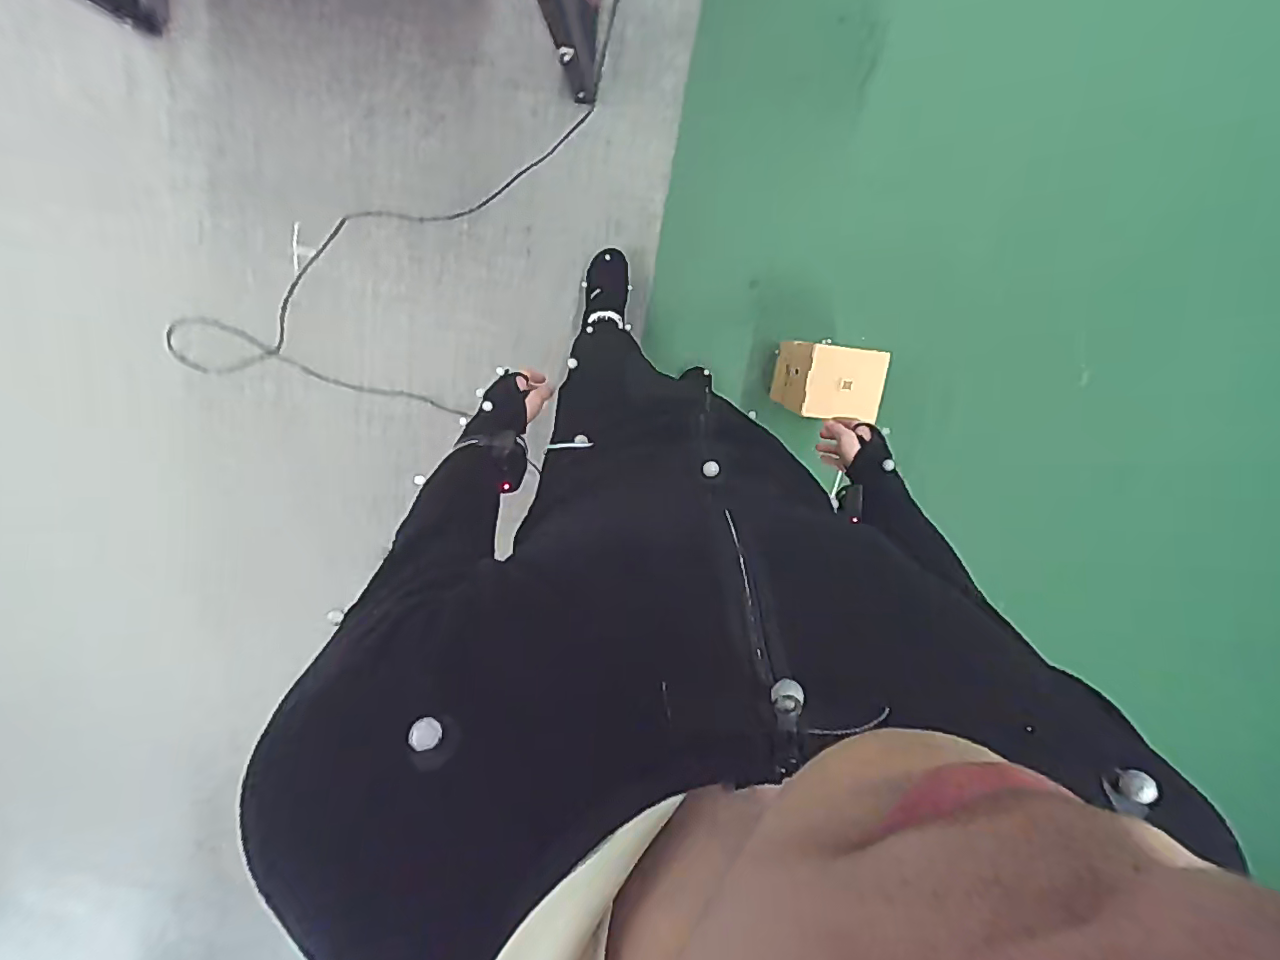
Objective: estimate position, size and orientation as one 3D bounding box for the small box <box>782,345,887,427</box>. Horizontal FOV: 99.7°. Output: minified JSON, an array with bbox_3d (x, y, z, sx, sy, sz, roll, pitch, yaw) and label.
[{"bbox_3d":[0.461,-0.232,1.308,0.179,0.176,0.168,7,105,0],"label":"small box"}]

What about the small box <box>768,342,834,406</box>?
[{"bbox_3d":[0.458,-0.277,1.465,0.179,0.176,0.168,8,104,-1],"label":"small box"}]
